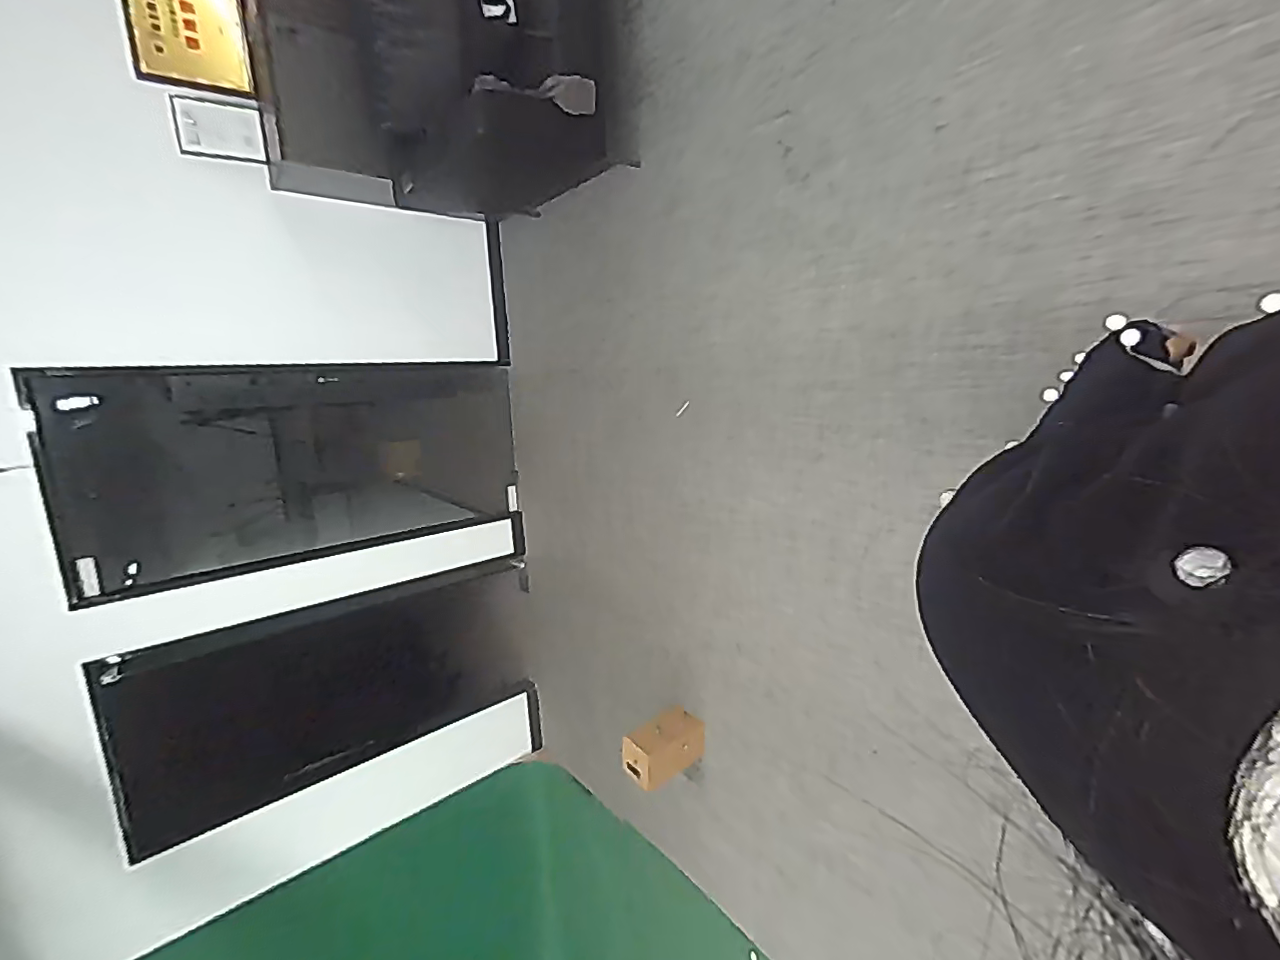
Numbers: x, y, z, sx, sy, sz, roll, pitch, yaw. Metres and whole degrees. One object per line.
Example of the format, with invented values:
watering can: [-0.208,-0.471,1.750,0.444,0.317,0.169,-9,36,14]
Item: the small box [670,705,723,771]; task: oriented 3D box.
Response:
small box: [0.253,1.133,2.392,0.168,0.176,0.179,19,114,49]
